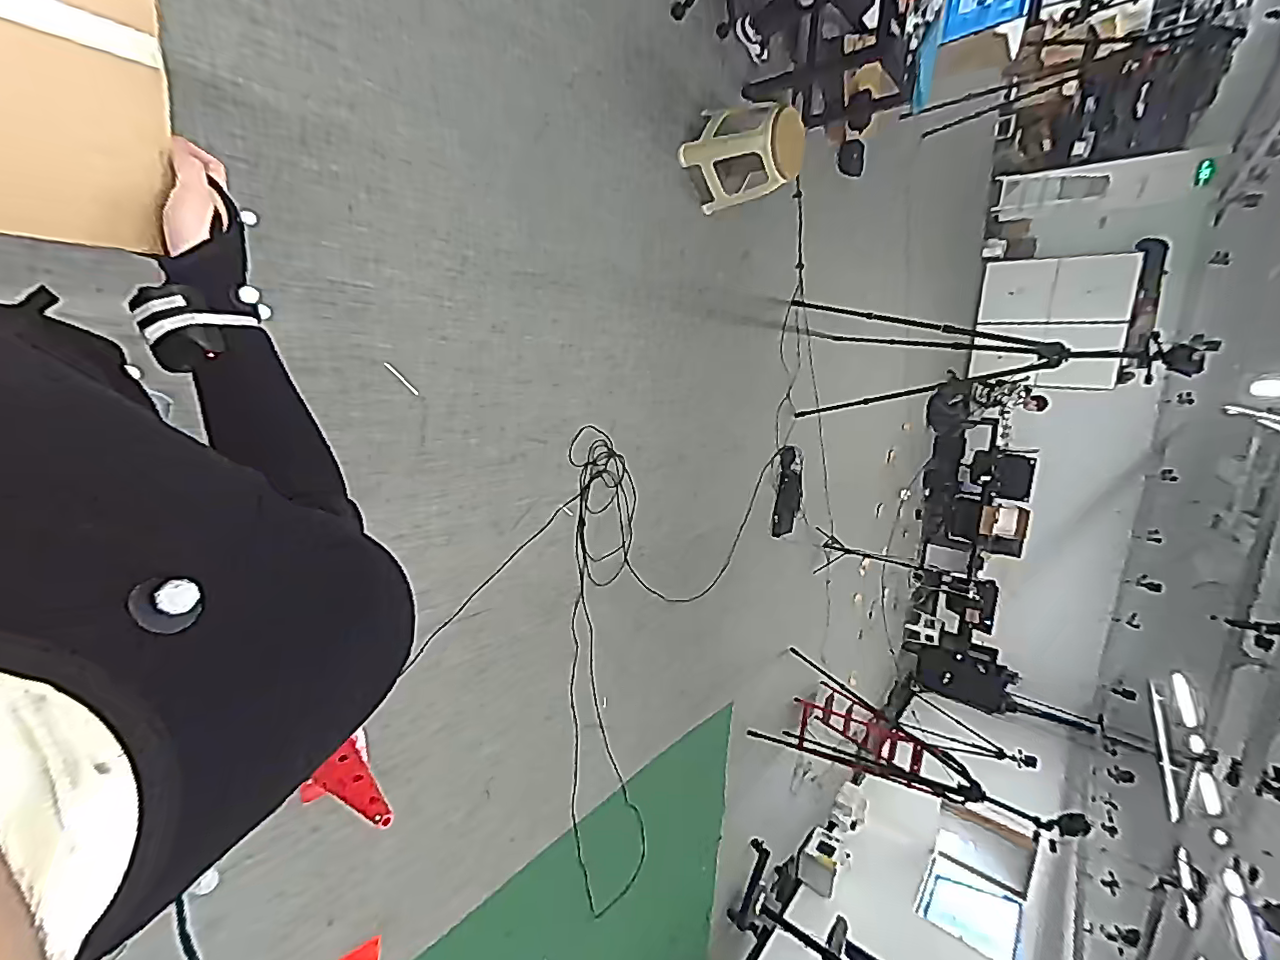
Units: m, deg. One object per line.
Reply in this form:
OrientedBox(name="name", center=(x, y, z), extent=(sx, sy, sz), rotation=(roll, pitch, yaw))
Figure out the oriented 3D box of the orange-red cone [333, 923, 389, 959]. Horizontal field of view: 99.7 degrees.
OrientedBox(name="orange-red cone", center=(-0.865, 1.740, 1.817), extent=(0.199, 0.360, 0.198), rotation=(-1, 101, -52))
